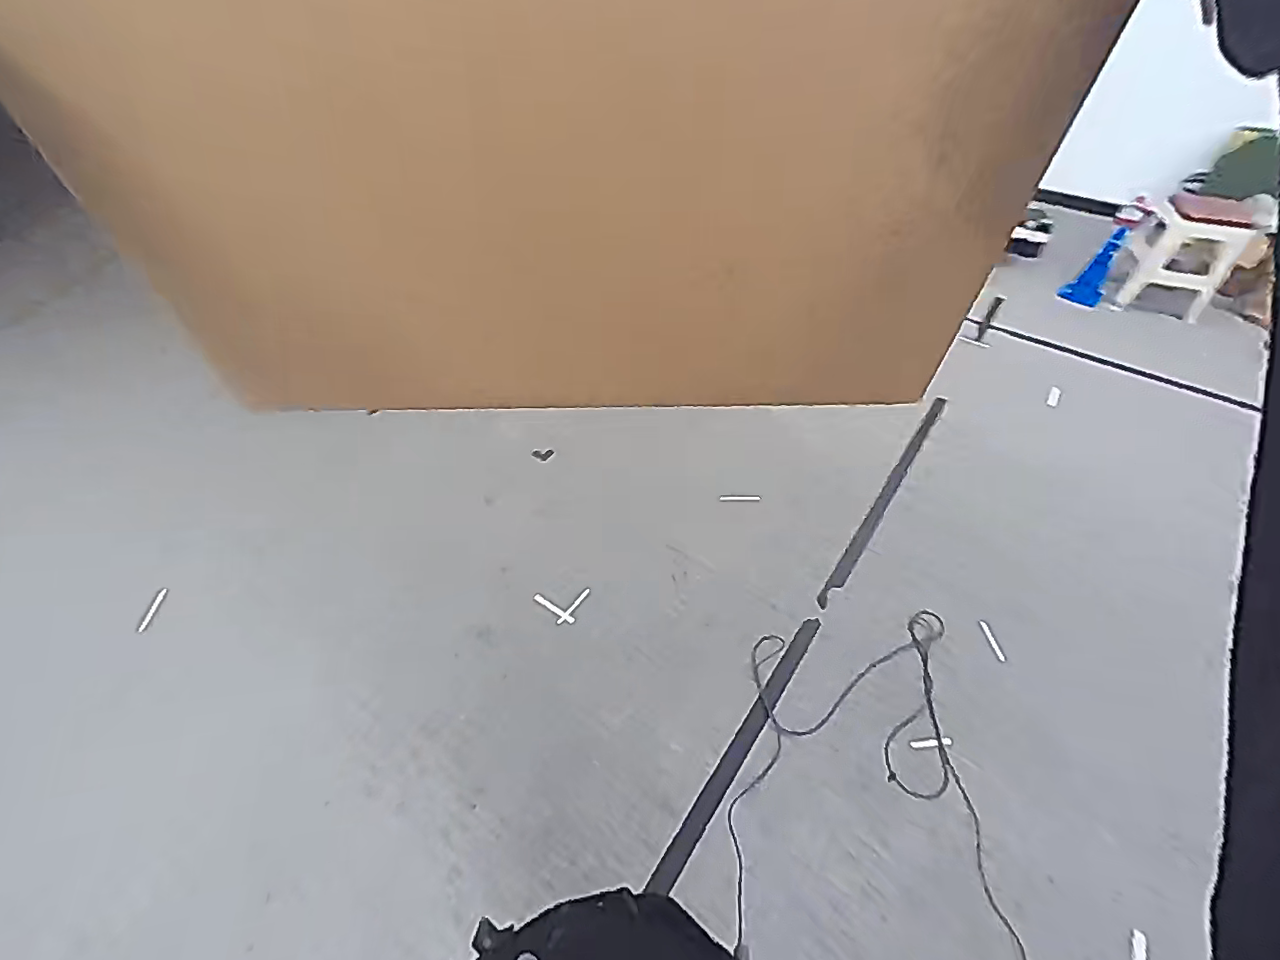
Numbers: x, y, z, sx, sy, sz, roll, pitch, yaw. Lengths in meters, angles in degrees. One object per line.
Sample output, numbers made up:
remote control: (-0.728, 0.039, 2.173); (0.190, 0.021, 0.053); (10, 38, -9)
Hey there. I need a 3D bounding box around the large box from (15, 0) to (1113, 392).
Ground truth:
large box: (-0.028, -0.264, 0.311); (0.408, 0.320, 0.320); (0, 52, -2)
